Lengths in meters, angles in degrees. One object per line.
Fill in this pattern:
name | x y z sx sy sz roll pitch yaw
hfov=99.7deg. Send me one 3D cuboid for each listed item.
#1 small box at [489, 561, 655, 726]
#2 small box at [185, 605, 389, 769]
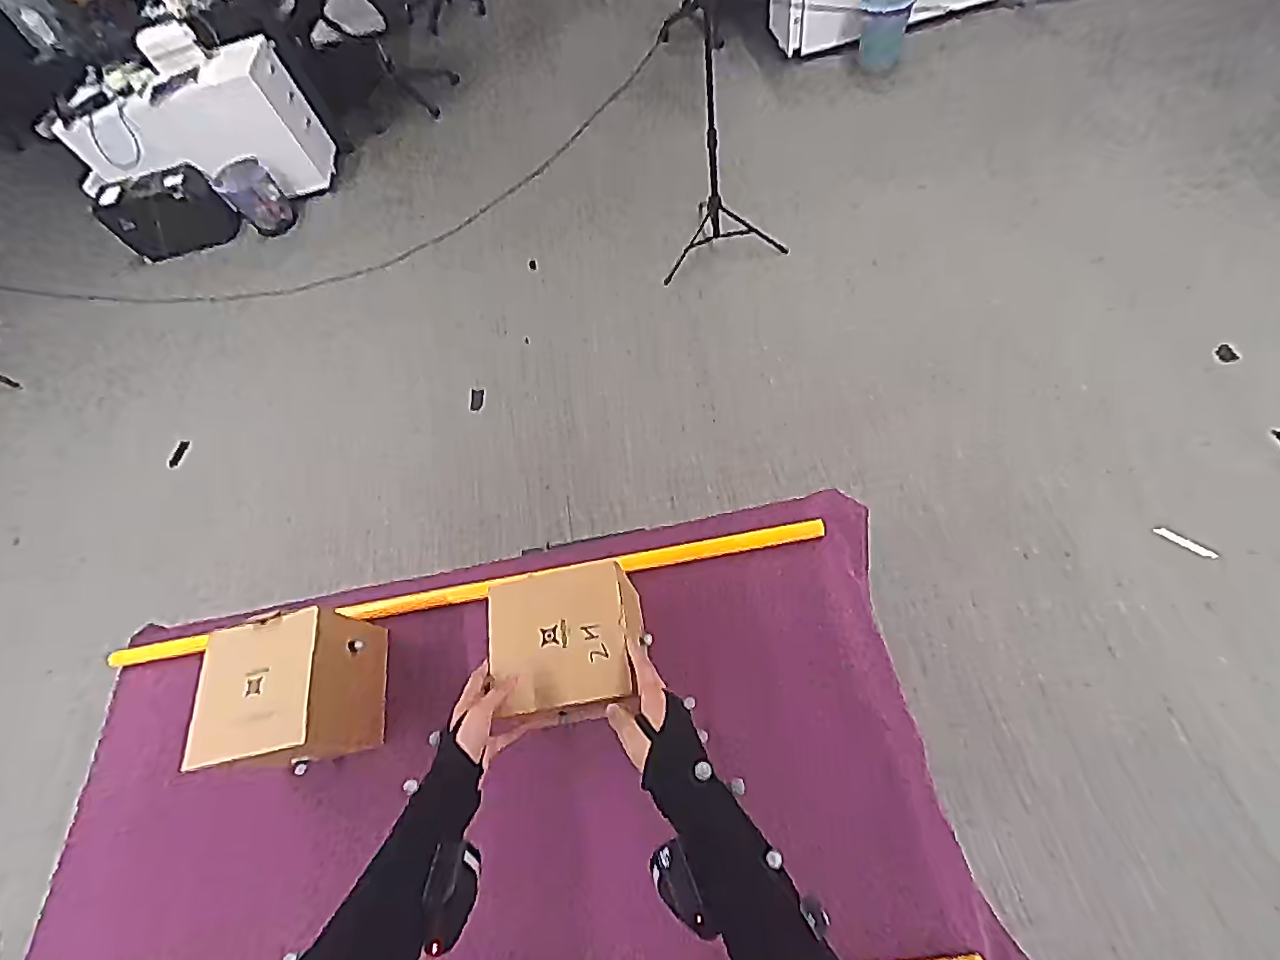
small box | -0.087 0.228 0.730 0.179 0.176 0.168 -12 61 5
small box | -0.481 0.300 0.769 0.168 0.176 0.179 -14 60 4
